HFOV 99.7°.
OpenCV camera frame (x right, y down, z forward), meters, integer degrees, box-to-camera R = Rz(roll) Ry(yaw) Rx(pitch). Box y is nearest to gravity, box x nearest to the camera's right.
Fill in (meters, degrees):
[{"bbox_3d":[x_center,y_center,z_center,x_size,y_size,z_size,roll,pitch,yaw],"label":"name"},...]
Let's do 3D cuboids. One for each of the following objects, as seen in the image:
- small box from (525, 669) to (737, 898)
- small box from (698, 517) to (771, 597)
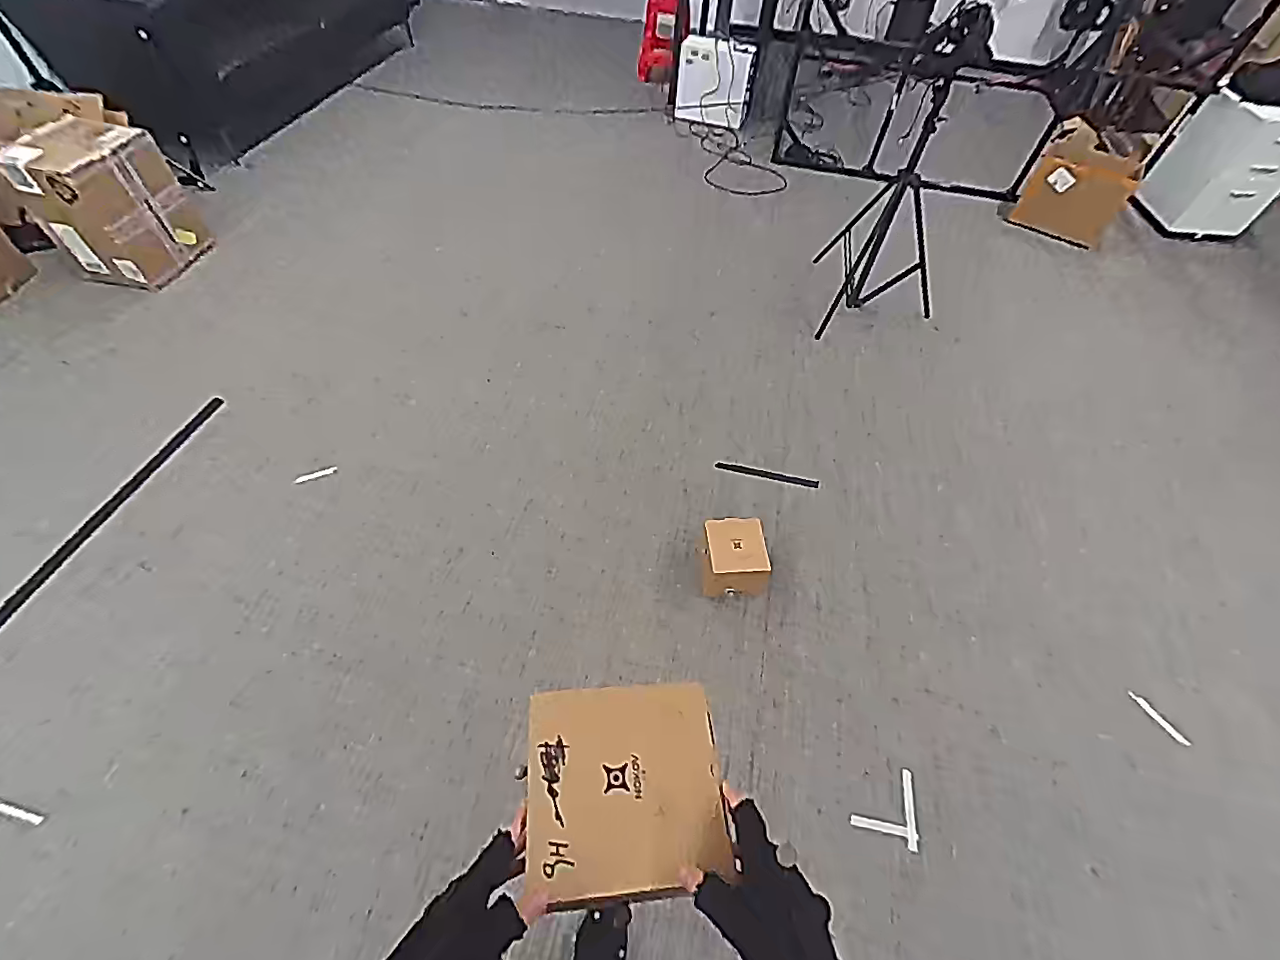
[{"bbox_3d":[-0.021,0.305,0.544,0.179,0.176,0.168,-1,49,-8],"label":"small box"},{"bbox_3d":[0.273,0.230,1.606,0.168,0.176,0.179,-3,54,-4],"label":"small box"}]
